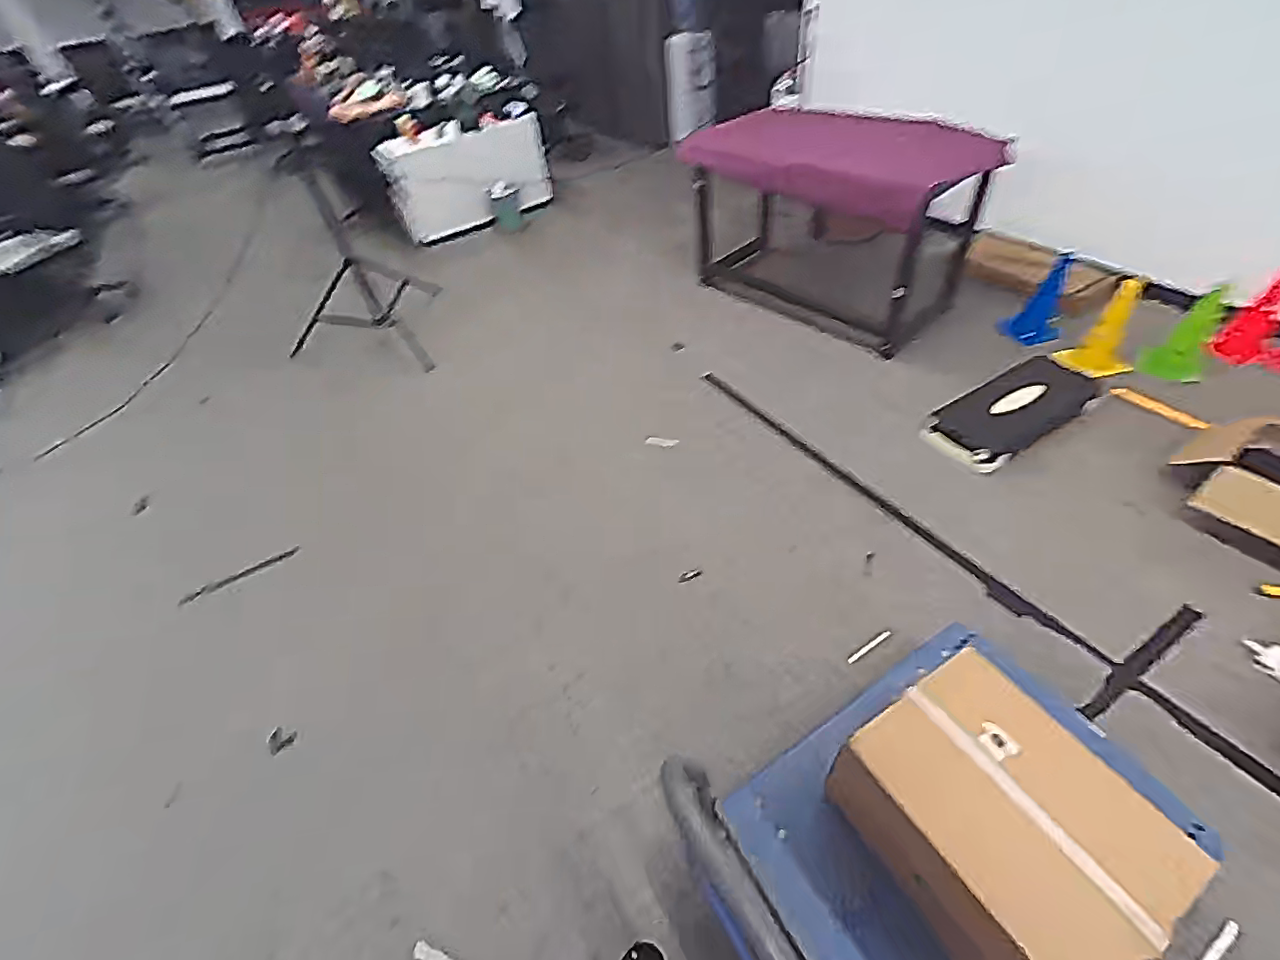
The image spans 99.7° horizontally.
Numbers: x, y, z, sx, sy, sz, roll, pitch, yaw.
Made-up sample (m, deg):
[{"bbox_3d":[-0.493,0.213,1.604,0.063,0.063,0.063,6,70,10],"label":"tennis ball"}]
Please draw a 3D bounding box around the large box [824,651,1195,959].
[{"bbox_3d":[0.602,0.607,0.974,0.320,0.320,0.408,-27,47,-17],"label":"large box"}]
